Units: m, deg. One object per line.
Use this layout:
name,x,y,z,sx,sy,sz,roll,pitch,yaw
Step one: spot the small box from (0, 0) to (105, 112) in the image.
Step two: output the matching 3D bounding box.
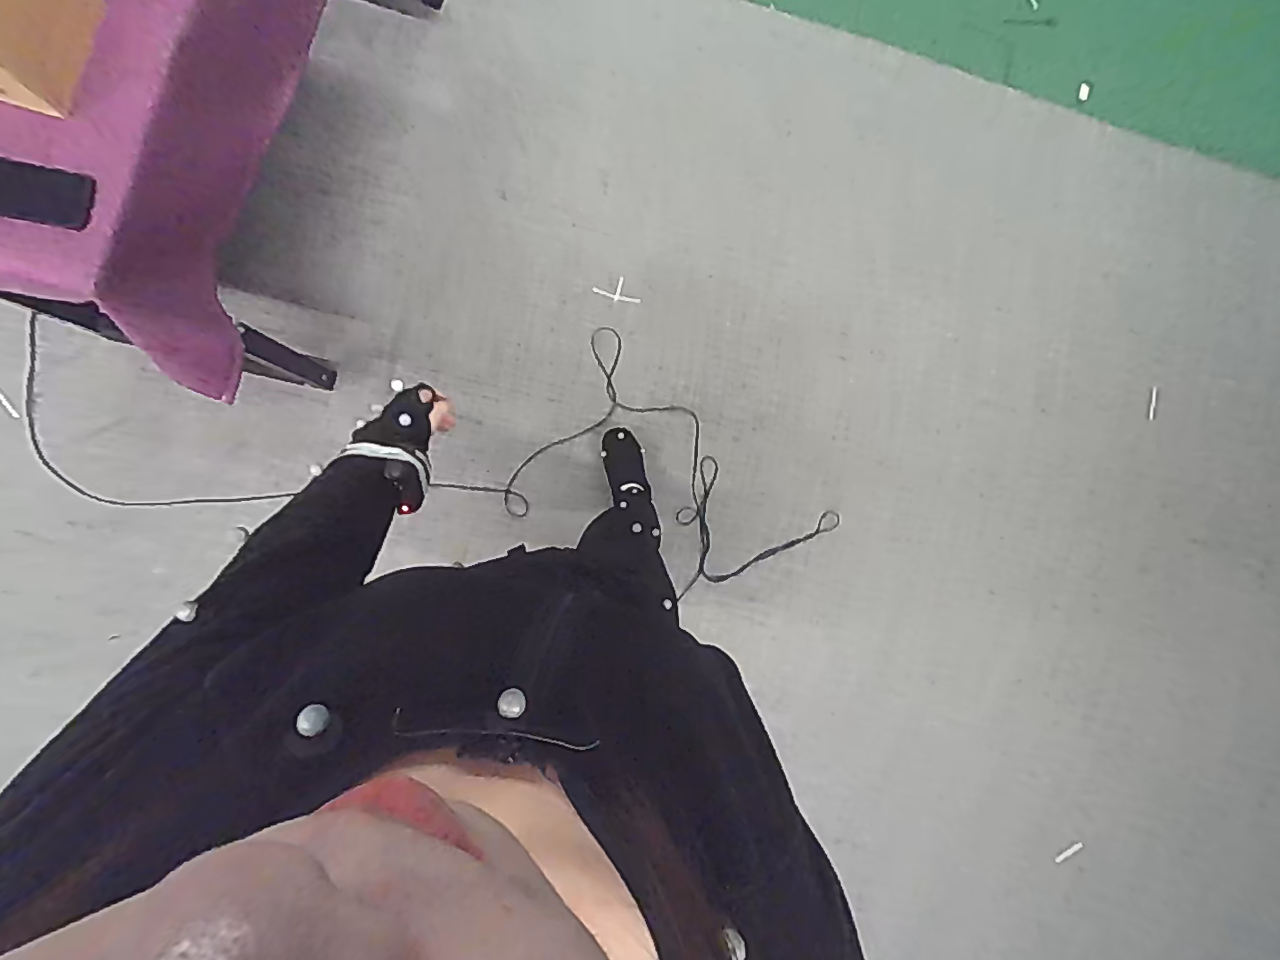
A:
small box,-0.808,-0.590,0.642,0.168,0.176,0.179,15,85,-6
